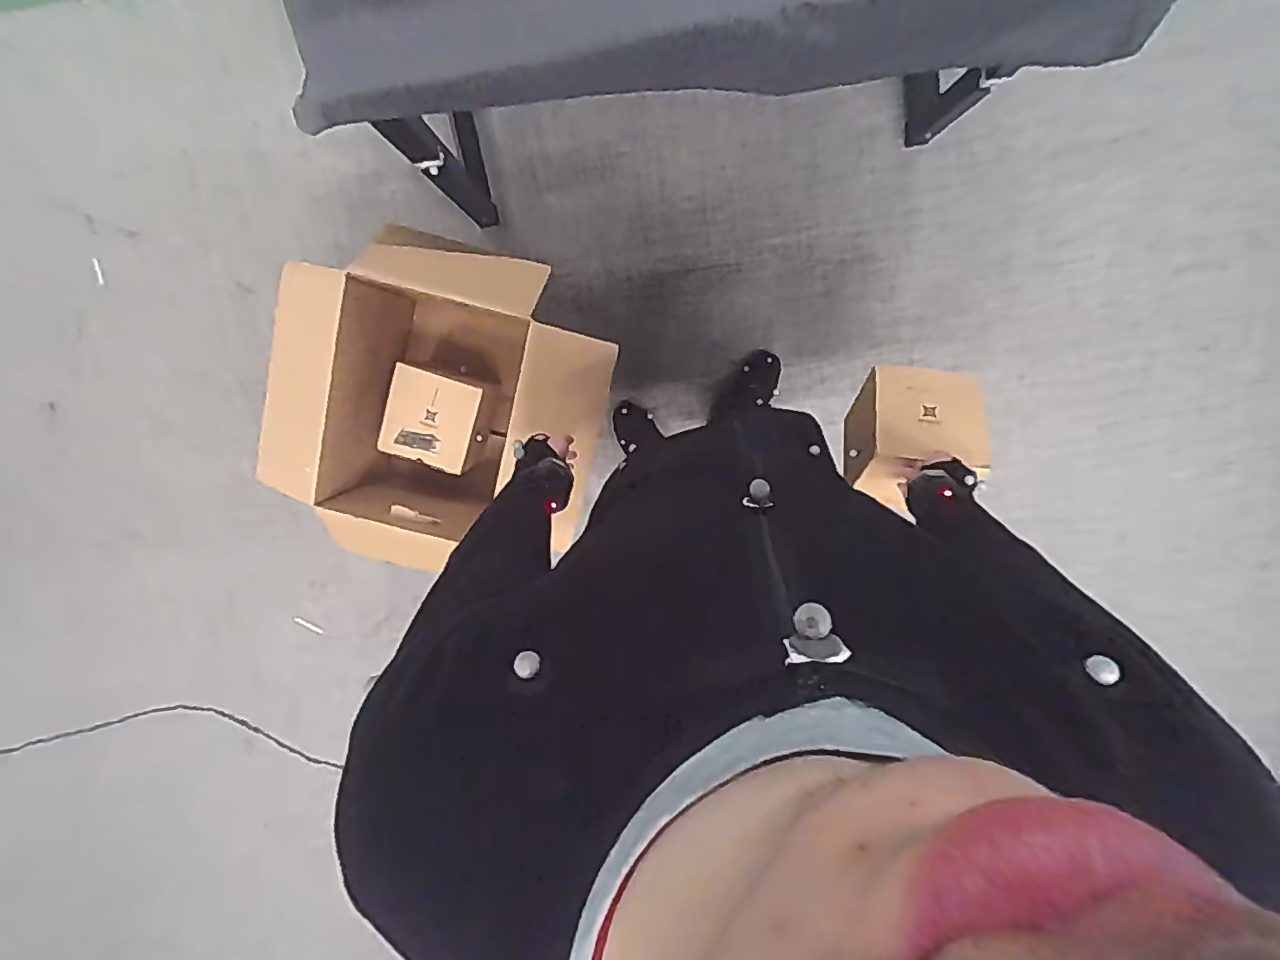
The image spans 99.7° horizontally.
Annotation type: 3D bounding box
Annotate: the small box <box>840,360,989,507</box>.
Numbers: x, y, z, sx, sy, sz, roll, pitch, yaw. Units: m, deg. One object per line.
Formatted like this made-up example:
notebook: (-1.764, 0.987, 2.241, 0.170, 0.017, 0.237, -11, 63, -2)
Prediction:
small box: (0.441, -0.070, 0.896, 0.168, 0.176, 0.179, 8, 63, 4)
